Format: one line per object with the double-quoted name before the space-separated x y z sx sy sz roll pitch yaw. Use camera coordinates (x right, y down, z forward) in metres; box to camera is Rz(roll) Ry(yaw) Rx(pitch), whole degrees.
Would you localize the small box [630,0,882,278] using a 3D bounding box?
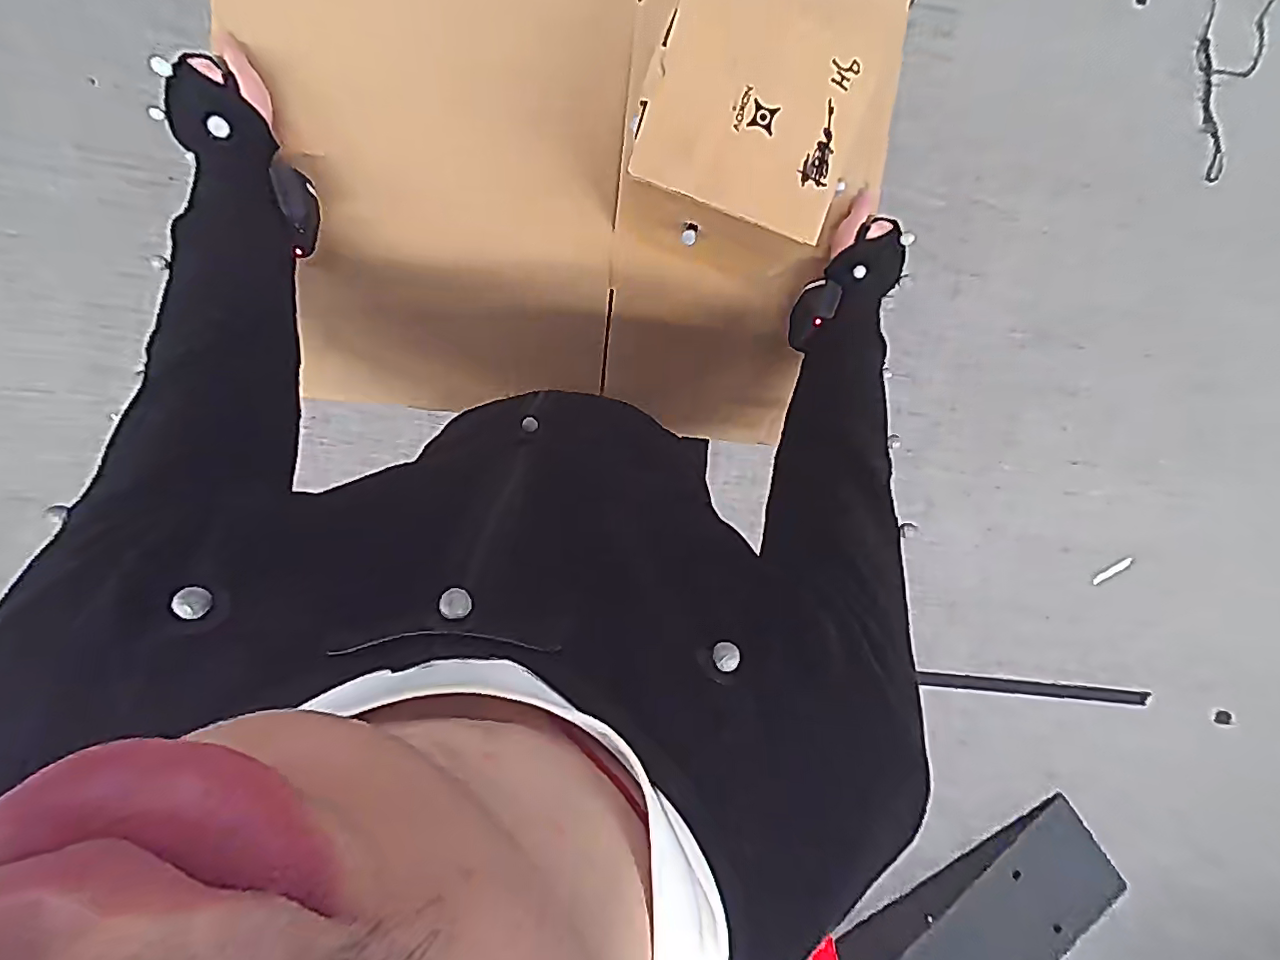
"small box" 0.094 -0.319 0.535 0.179 0.176 0.168 18 96 -5
